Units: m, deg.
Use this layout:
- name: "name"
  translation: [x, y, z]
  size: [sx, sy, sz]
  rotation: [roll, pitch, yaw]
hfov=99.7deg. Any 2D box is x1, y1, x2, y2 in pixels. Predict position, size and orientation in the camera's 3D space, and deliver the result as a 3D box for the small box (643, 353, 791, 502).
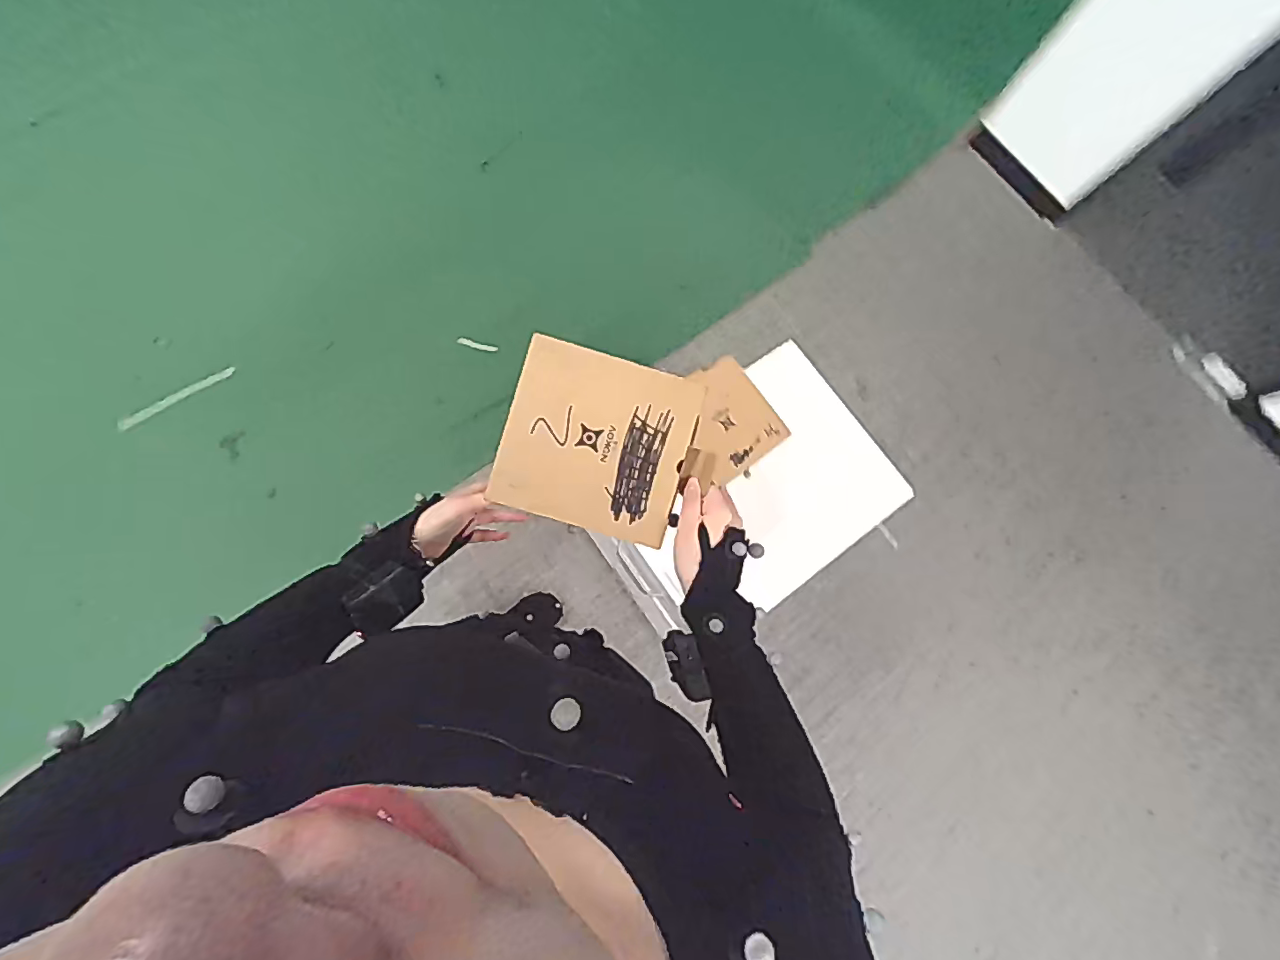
- name: "small box"
  translation: [0.123, -0.085, 0.954]
  size: [0.168, 0.176, 0.179]
  rotation: [-34, 83, -15]
